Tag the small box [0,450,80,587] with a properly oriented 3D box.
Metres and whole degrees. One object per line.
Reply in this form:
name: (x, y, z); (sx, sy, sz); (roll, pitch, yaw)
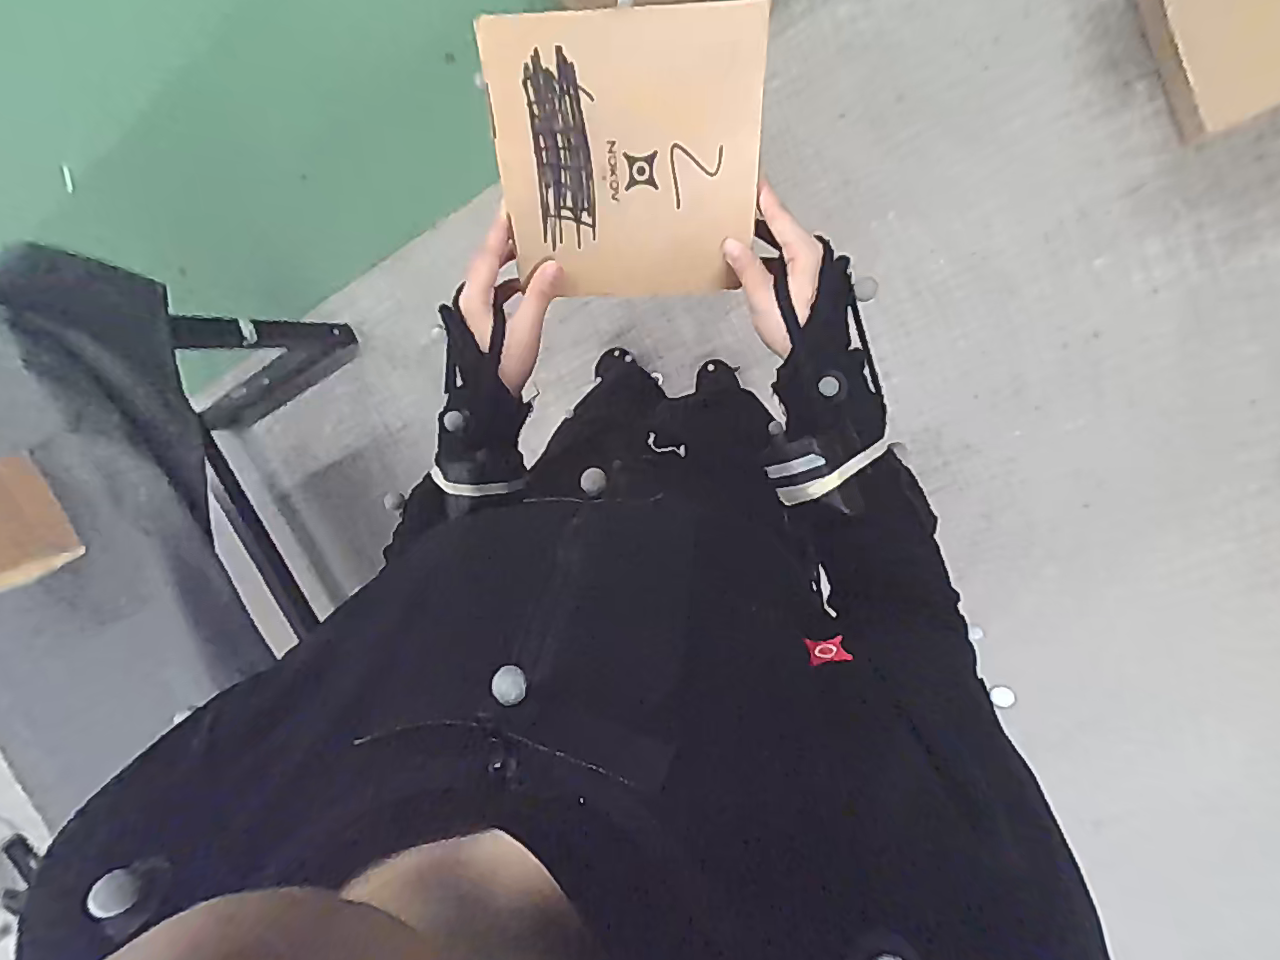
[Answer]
small box: (-0.977, 0.076, 0.772); (0.168, 0.176, 0.179); (-22, 98, 18)
